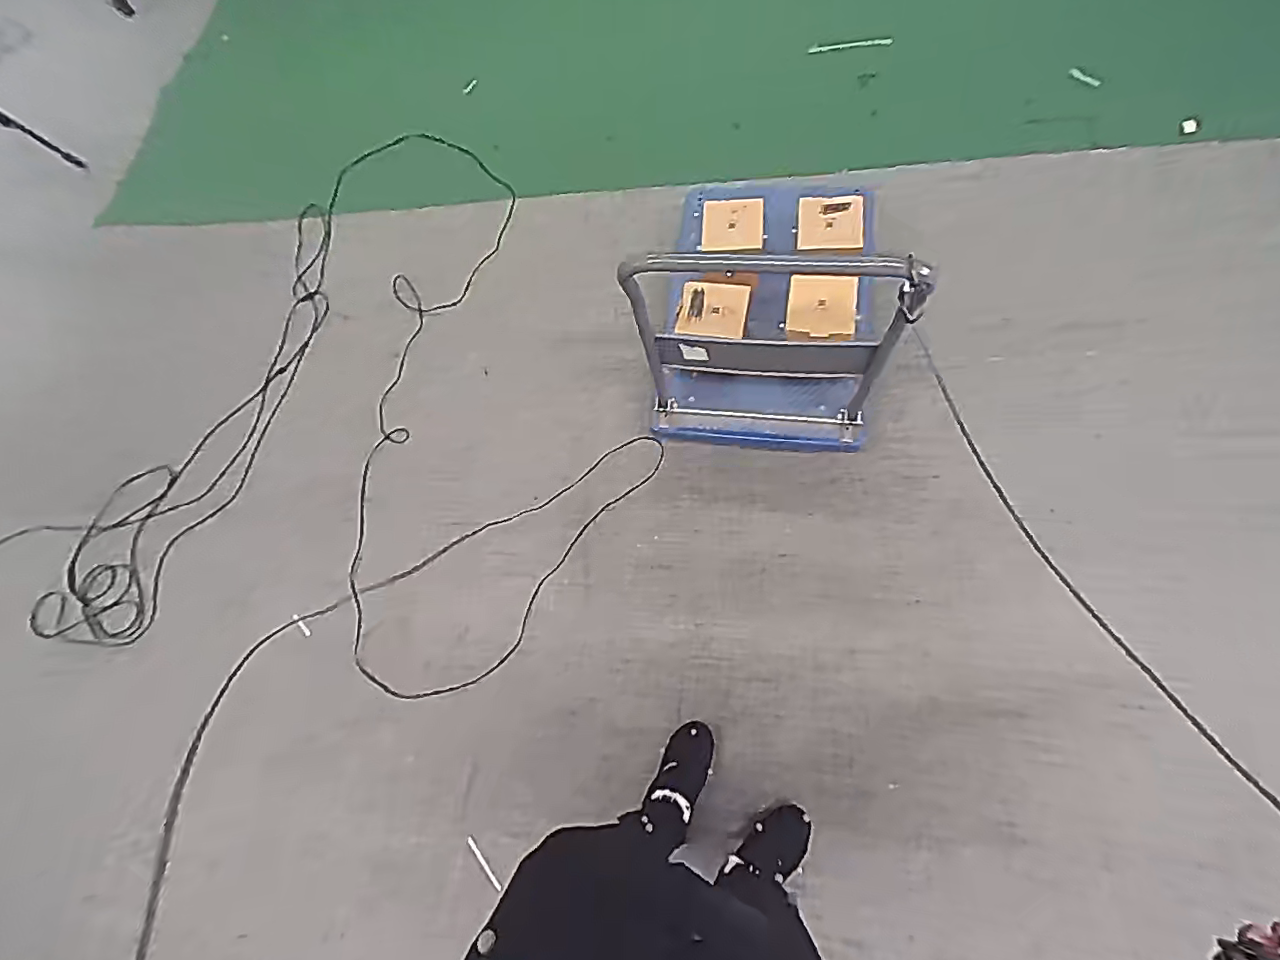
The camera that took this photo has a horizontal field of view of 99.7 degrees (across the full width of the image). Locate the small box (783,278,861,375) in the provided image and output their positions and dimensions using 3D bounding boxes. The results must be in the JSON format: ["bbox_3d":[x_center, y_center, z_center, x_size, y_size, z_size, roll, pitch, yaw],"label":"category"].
[{"bbox_3d":[0.473,-0.401,1.423,0.168,0.176,0.179,8,73,12],"label":"small box"}]

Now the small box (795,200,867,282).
[{"bbox_3d":[0.523,-0.643,1.498,0.168,0.176,0.179,4,72,12],"label":"small box"}]

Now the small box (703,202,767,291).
[{"bbox_3d":[0.272,-0.662,1.549,0.168,0.176,0.179,3,71,10],"label":"small box"}]
